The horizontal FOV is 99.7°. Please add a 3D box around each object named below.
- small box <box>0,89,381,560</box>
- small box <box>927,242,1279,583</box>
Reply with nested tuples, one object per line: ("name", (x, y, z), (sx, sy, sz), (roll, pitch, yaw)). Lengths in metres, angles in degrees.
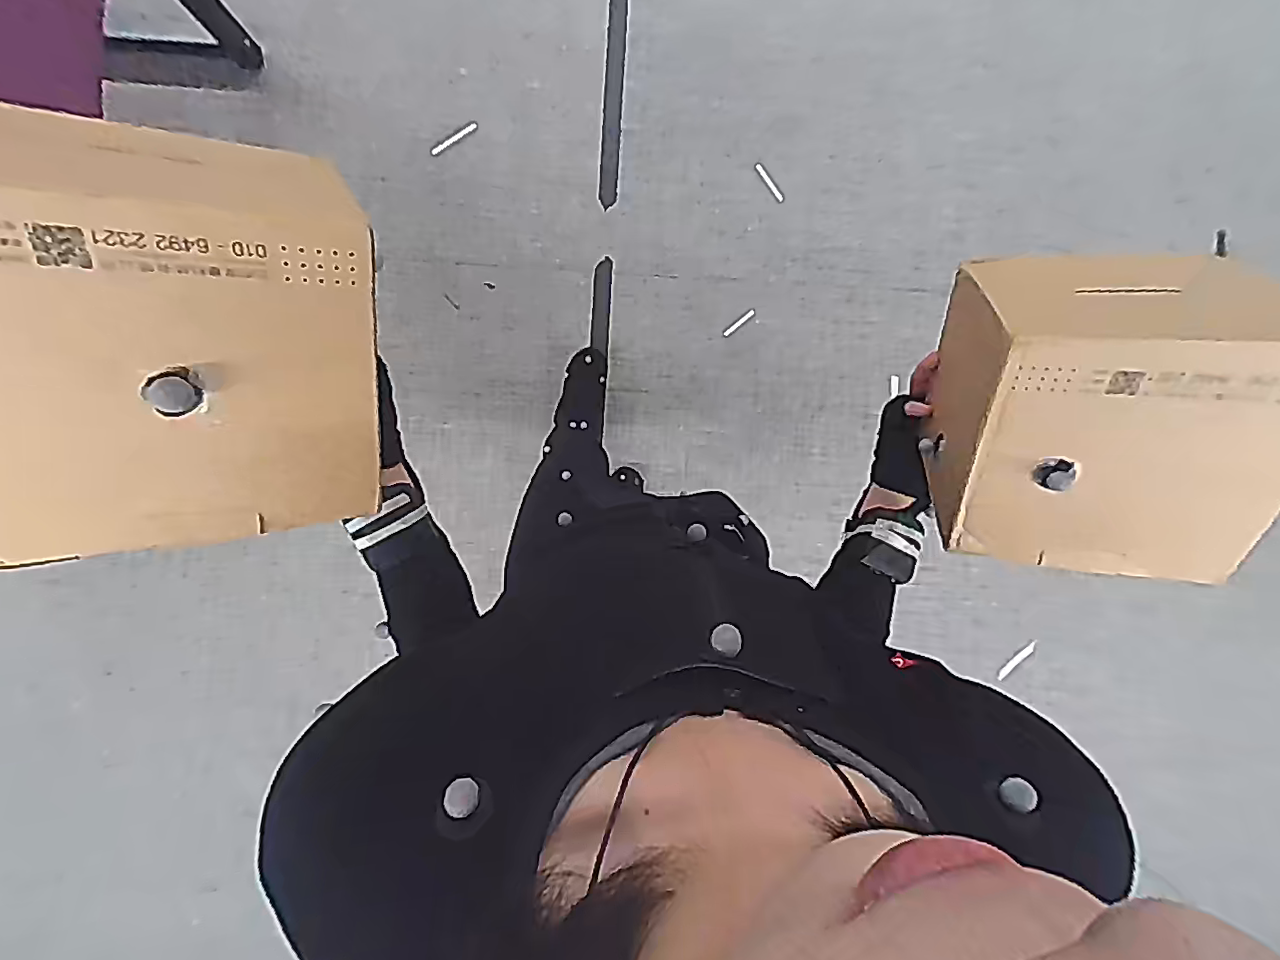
("small box", (-0.243, -0.089, 0.283), (0.168, 0.179, 0.176), (-7, 128, -32))
("small box", (0.319, -0.058, 0.378), (0.168, 0.179, 0.176), (7, 126, 16))
